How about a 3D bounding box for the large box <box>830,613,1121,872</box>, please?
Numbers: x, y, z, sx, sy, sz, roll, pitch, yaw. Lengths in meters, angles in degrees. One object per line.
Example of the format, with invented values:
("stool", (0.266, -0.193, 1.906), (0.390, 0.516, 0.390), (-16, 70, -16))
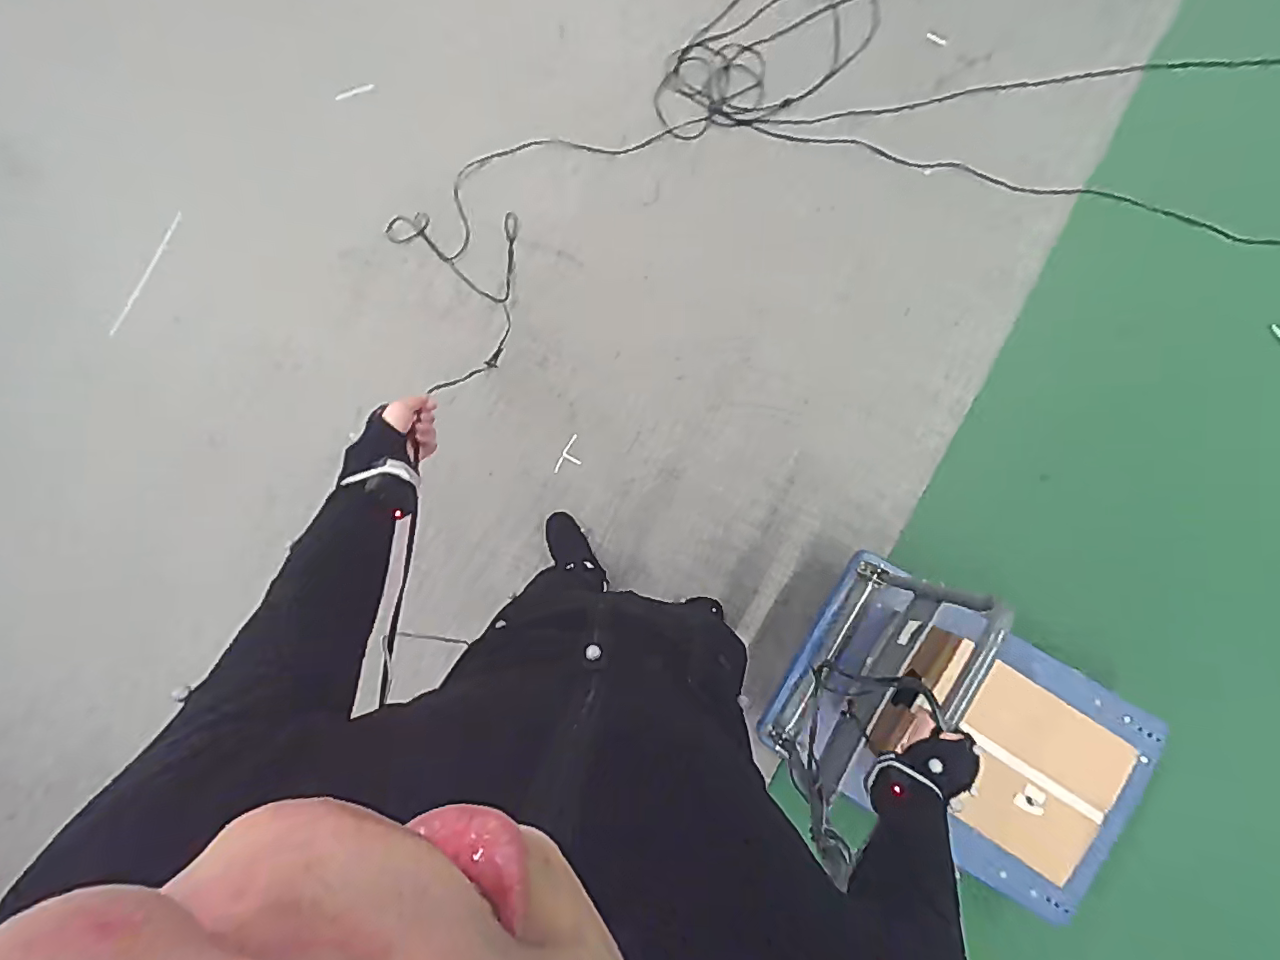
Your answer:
("large box", (0.728, 0.562, 1.243), (0.408, 0.320, 0.320), (34, 88, 3))
